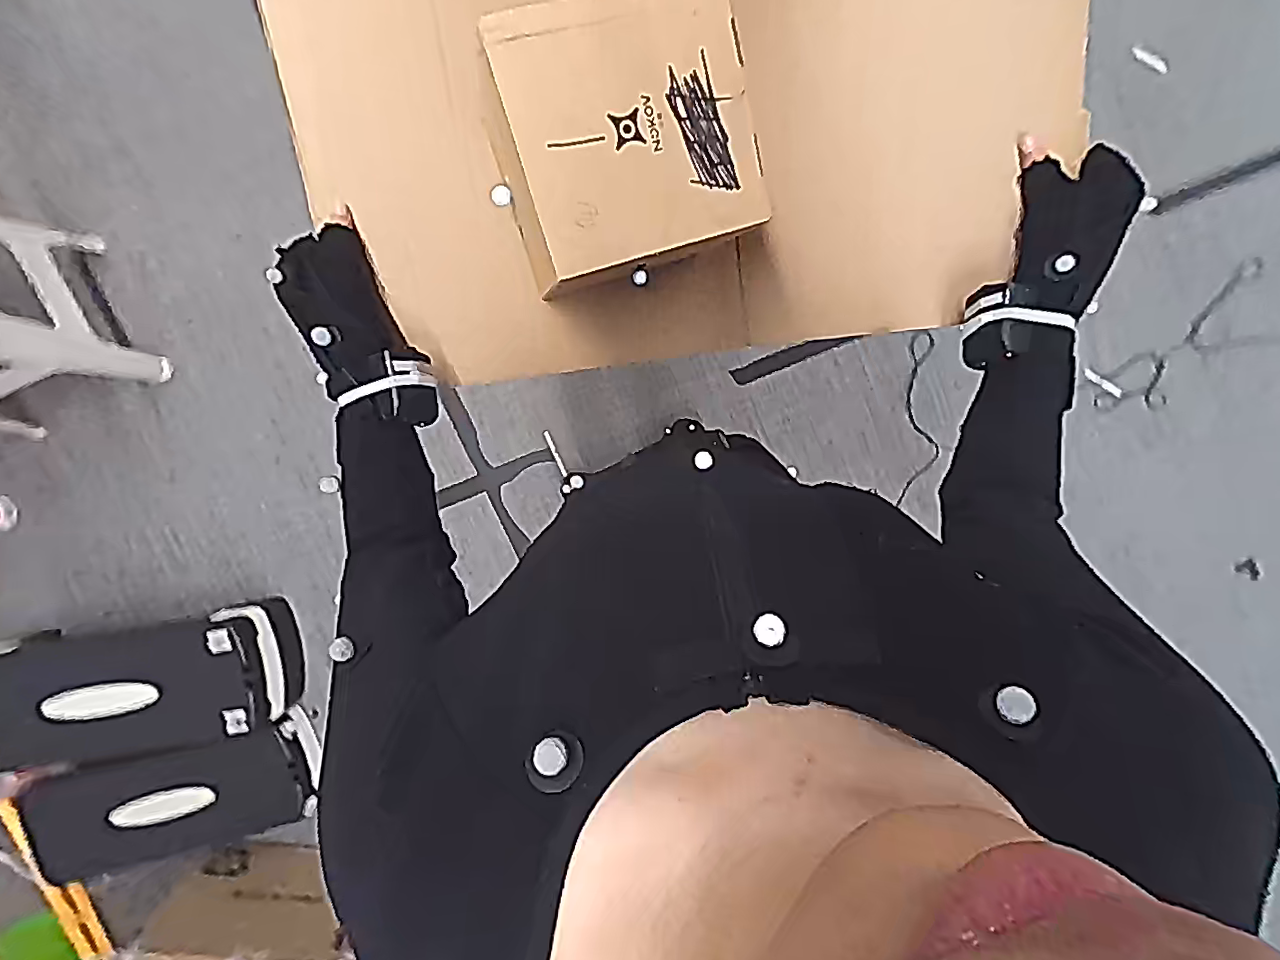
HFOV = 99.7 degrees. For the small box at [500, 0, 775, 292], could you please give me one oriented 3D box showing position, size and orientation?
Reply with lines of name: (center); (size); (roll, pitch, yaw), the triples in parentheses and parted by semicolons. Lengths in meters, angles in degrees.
small box: (-0.012, -0.270, 0.464); (0.179, 0.176, 0.168); (-18, 107, -9)
